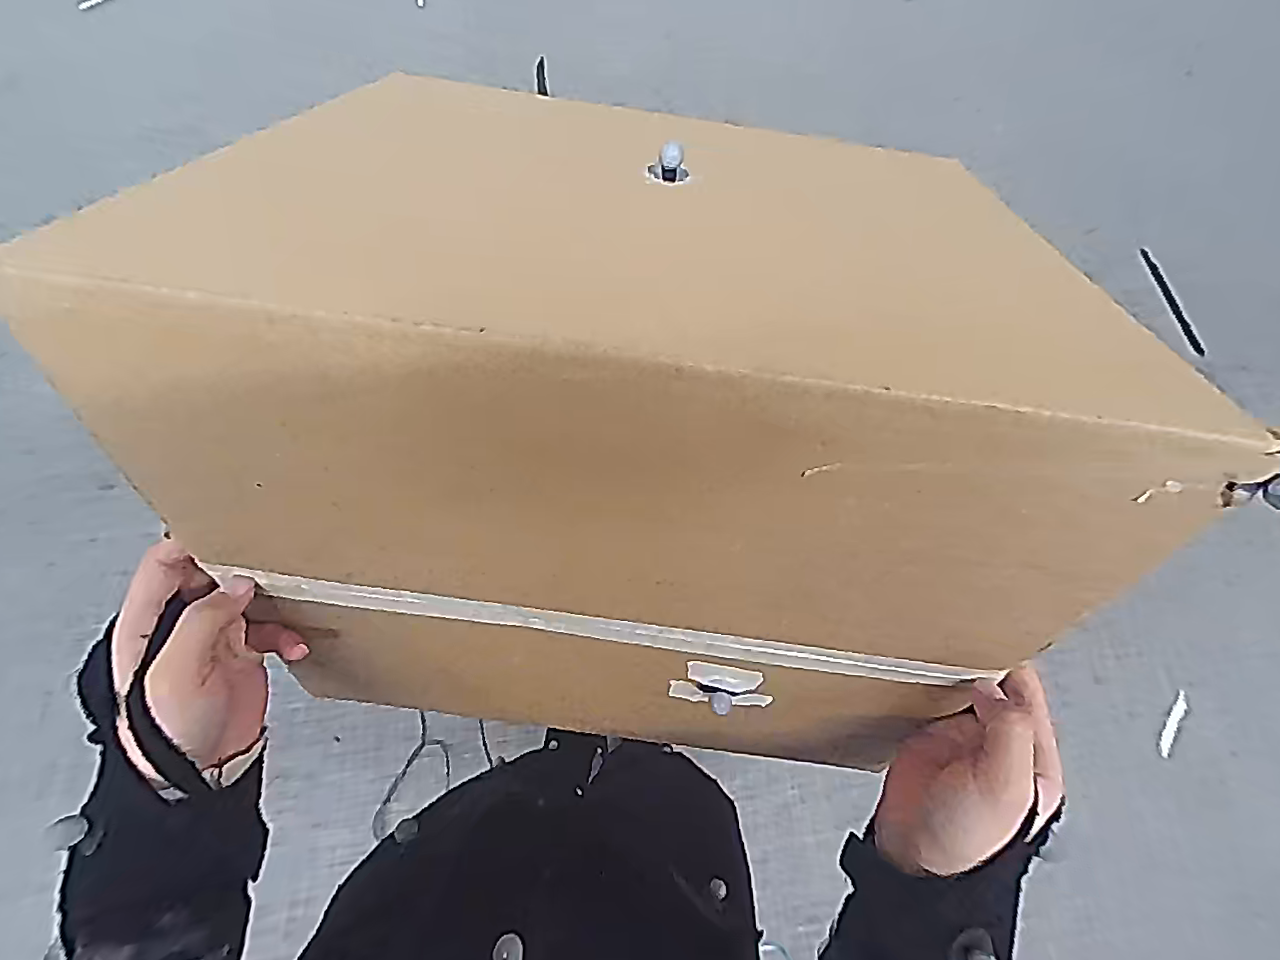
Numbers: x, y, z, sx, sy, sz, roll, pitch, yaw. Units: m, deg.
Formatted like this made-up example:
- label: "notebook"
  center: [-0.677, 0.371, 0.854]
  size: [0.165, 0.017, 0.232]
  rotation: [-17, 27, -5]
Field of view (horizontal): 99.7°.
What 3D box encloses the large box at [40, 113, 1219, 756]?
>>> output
- label: "large box"
  center: [-0.007, -0.034, 0.387]
  size: [0.408, 0.320, 0.320]
  rotation: [7, 46, -1]
